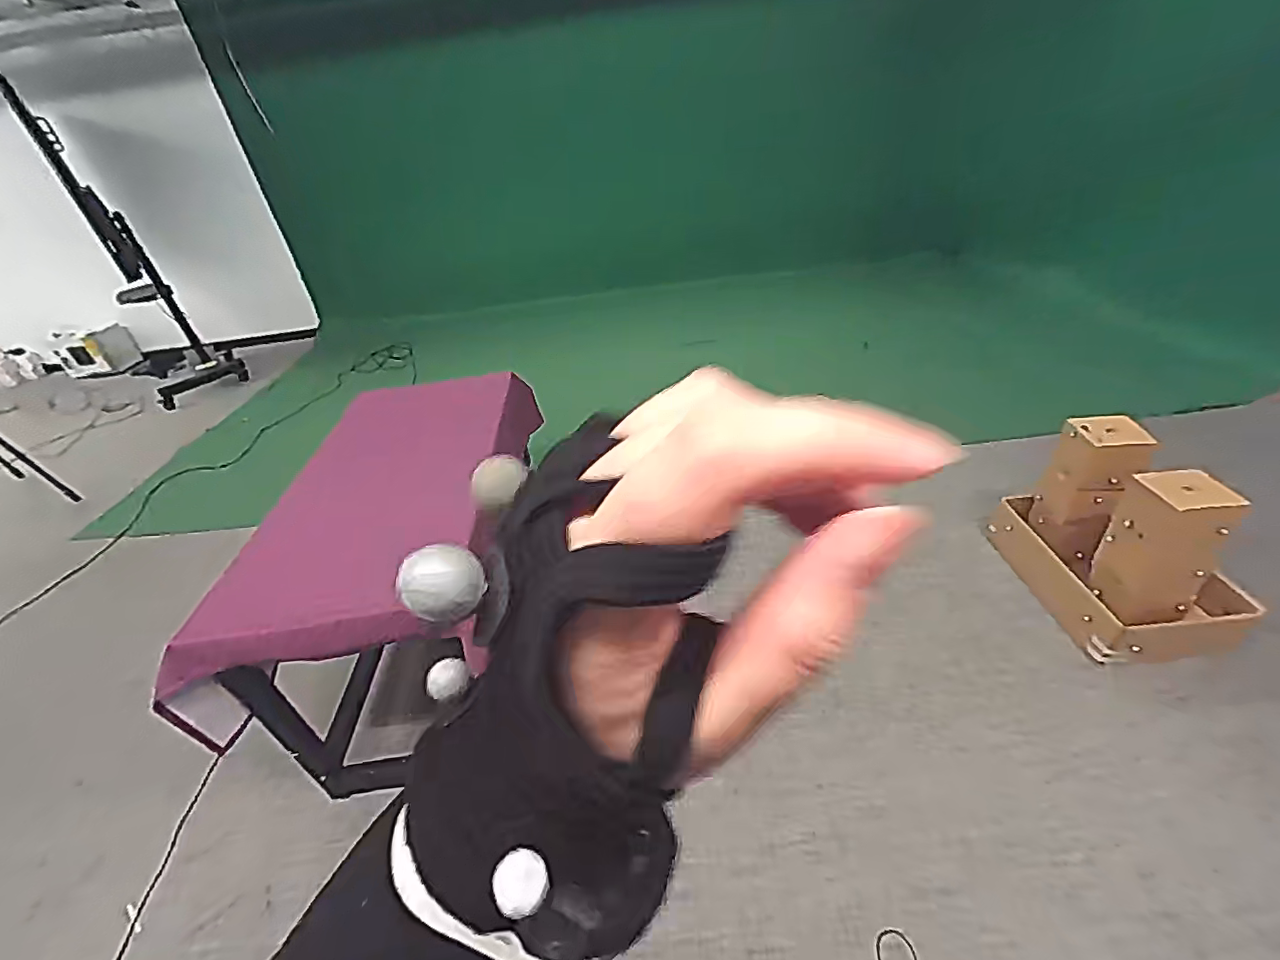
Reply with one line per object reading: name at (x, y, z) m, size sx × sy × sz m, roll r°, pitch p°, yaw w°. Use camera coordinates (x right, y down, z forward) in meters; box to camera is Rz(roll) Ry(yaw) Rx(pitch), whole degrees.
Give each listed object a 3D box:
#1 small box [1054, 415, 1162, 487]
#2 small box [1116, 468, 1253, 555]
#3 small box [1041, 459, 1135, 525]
small box at (1.463, -0.090, 1.706) m, size 0.179 × 0.176 × 0.168 m, roll -1°, pitch 35°, yaw 8°
small box at (1.458, 0.086, 1.465) m, size 0.179 × 0.176 × 0.168 m, roll -5°, pitch 34°, yaw 5°
small box at (1.485, 0.038, 1.807) m, size 0.179 × 0.176 × 0.168 m, roll -2°, pitch 36°, yaw 7°
